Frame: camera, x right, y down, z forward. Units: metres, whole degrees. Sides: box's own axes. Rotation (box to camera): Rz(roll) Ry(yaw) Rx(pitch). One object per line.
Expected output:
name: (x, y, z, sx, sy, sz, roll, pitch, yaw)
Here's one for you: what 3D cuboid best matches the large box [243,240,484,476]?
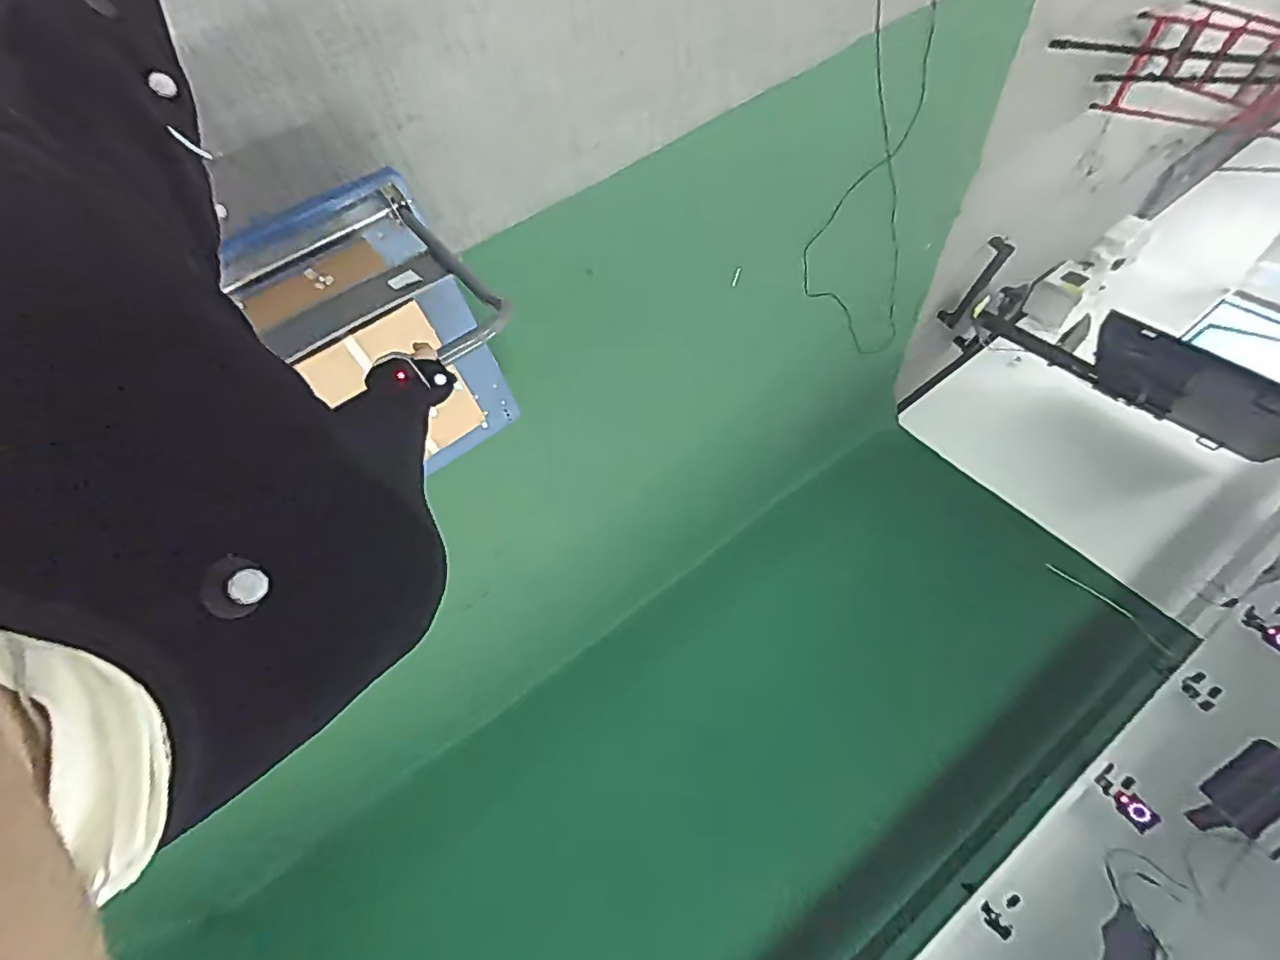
large box: (-0.660, -0.291, 1.335, 0.320, 0.320, 0.408, -35, 149, -13)
